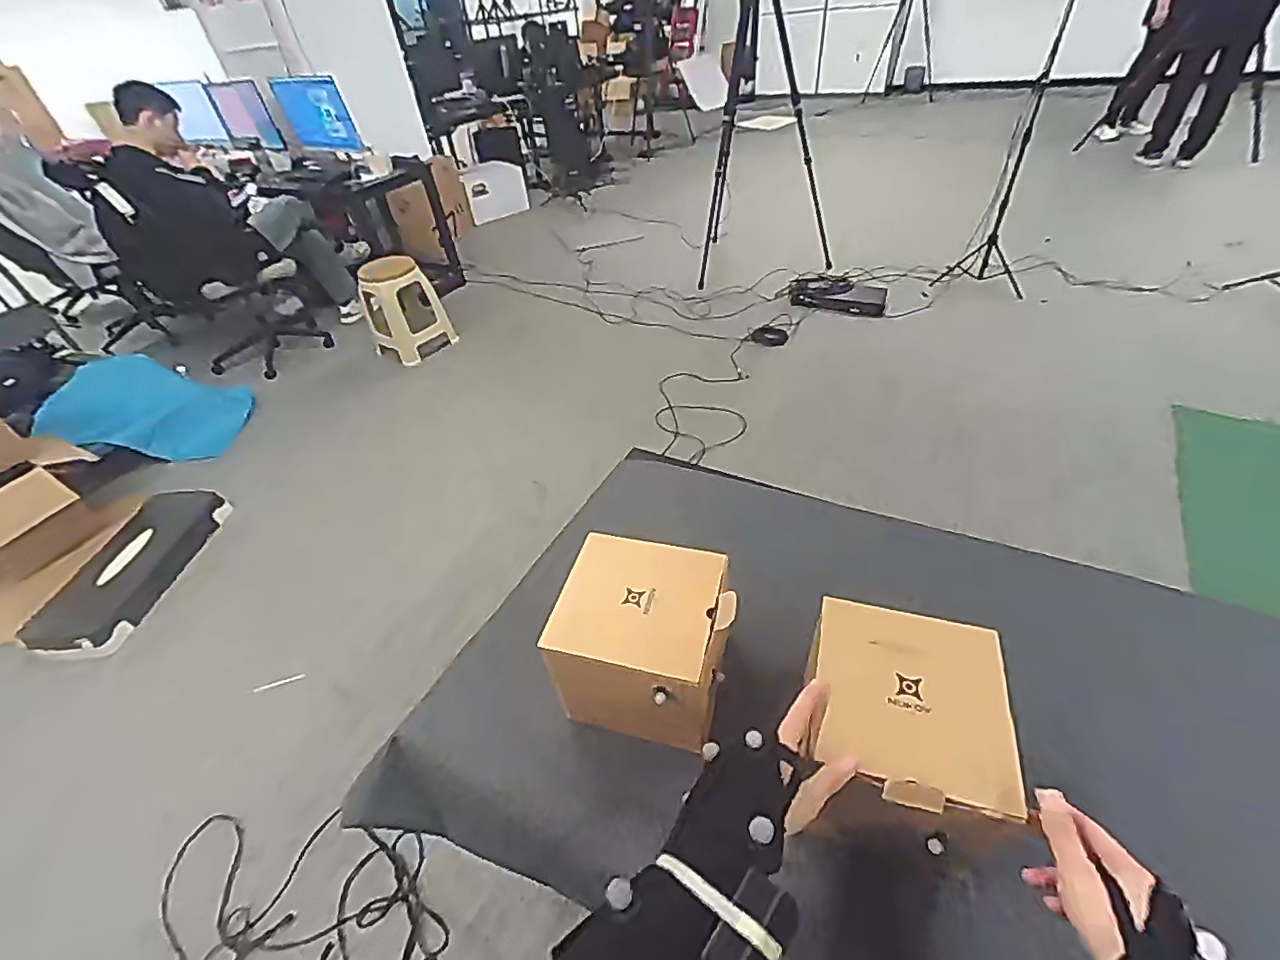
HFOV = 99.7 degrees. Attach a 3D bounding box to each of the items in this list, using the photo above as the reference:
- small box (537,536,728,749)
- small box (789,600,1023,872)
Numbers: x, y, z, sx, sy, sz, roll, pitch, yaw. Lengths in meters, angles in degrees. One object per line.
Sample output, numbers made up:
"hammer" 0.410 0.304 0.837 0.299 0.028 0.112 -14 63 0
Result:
"small box" 0.003 0.192 0.645 0.179 0.176 0.168 8 43 14
"small box" 0.248 0.254 0.543 0.168 0.176 0.179 9 43 16
